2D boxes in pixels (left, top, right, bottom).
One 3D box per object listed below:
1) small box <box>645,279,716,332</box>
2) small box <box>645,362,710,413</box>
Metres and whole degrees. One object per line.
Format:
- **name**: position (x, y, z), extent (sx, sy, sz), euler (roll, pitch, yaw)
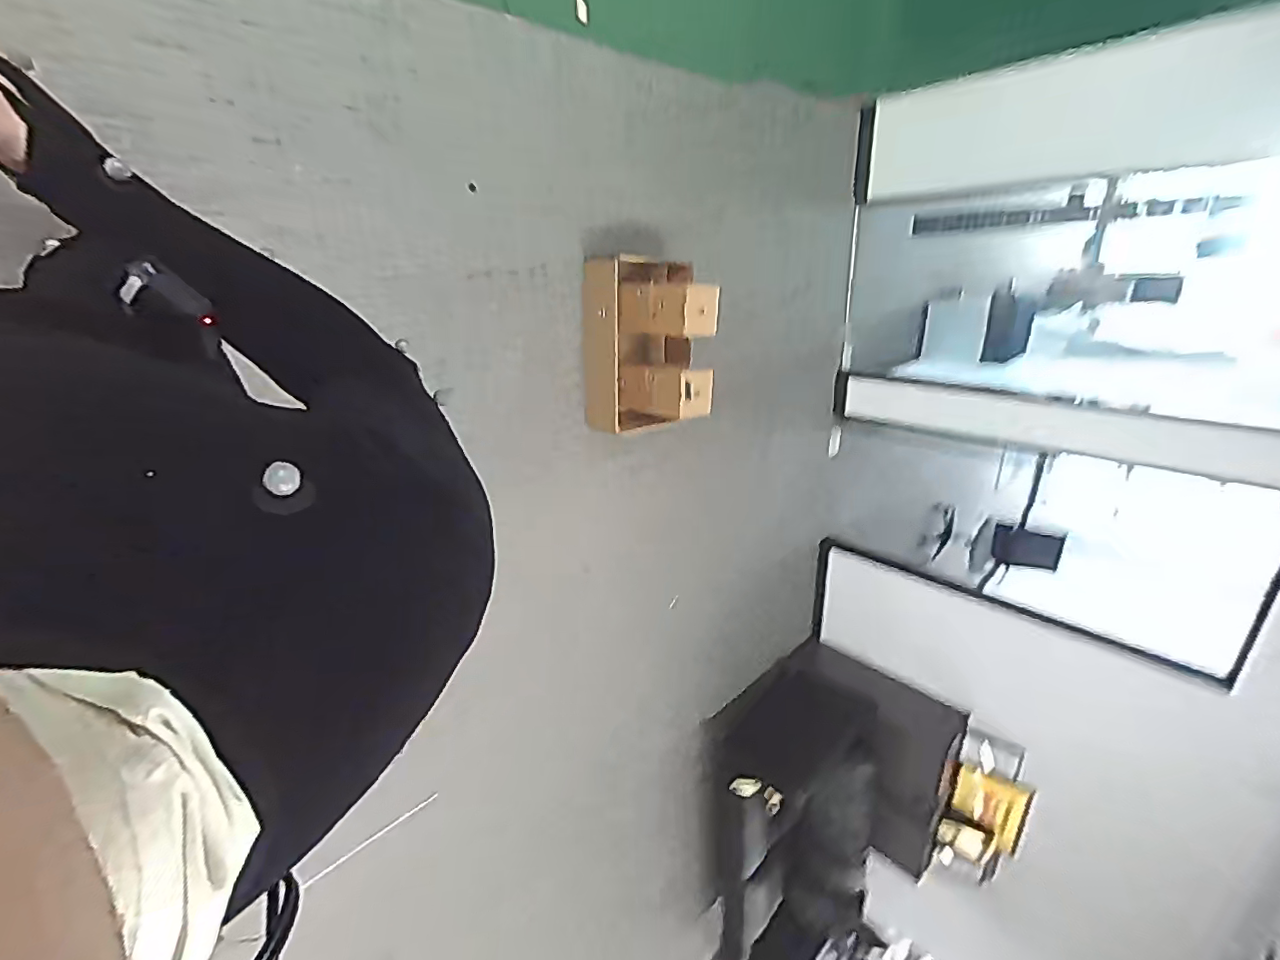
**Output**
- **small box**: position (0.140, -0.610, 1.885), extent (0.179, 0.176, 0.168), euler (-17, 117, -42)
- **small box**: position (0.133, -0.341, 1.976), extent (0.179, 0.176, 0.168), euler (-16, 114, -43)
